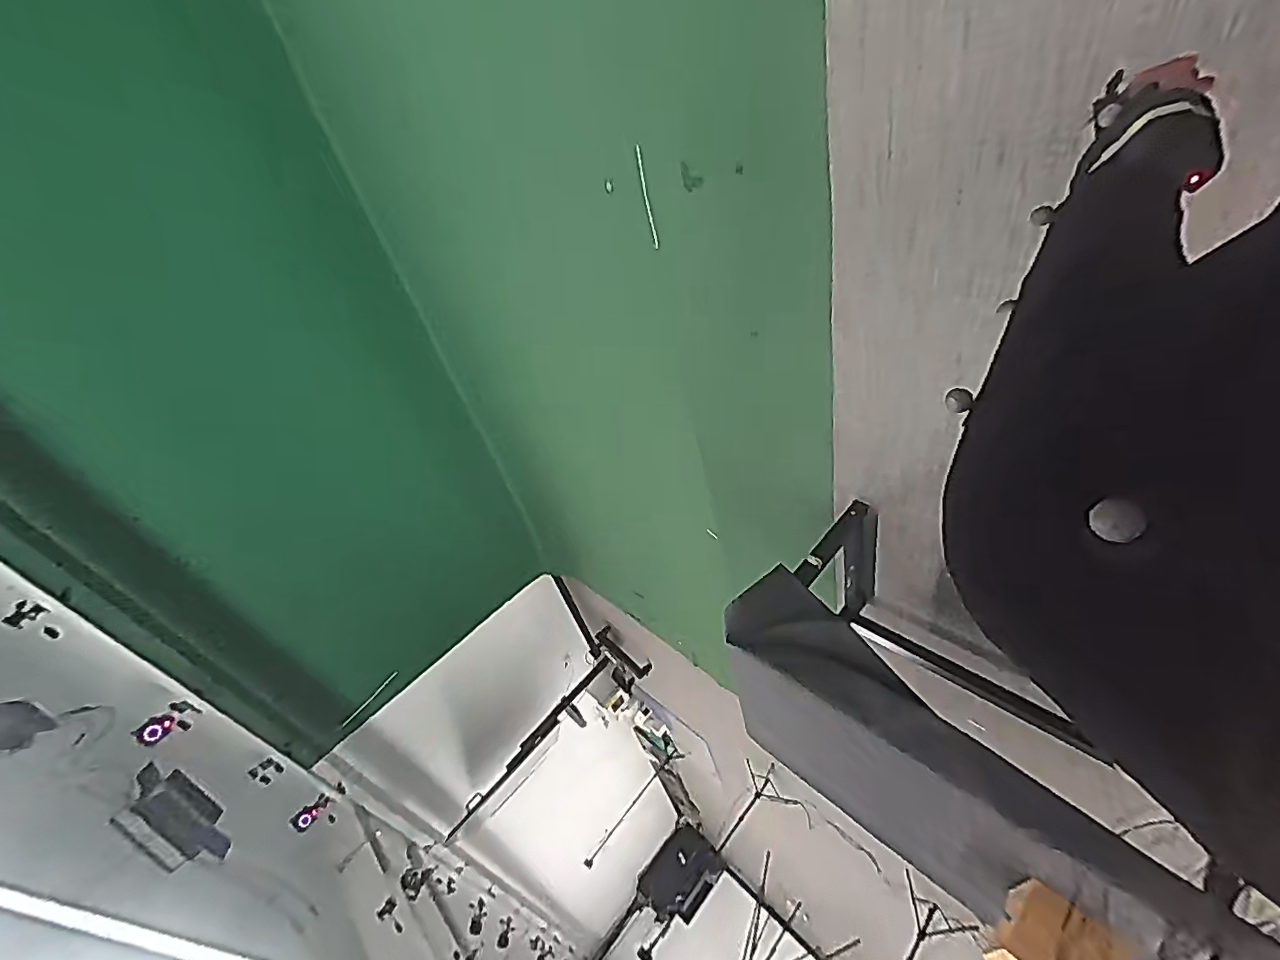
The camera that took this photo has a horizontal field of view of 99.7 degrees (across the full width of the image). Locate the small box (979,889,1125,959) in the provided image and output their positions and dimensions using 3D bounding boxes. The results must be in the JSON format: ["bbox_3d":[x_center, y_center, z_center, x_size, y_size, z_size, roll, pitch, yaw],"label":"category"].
[{"bbox_3d":[0.858,1.001,1.133,0.179,0.176,0.168,29,146,34],"label":"small box"}]
